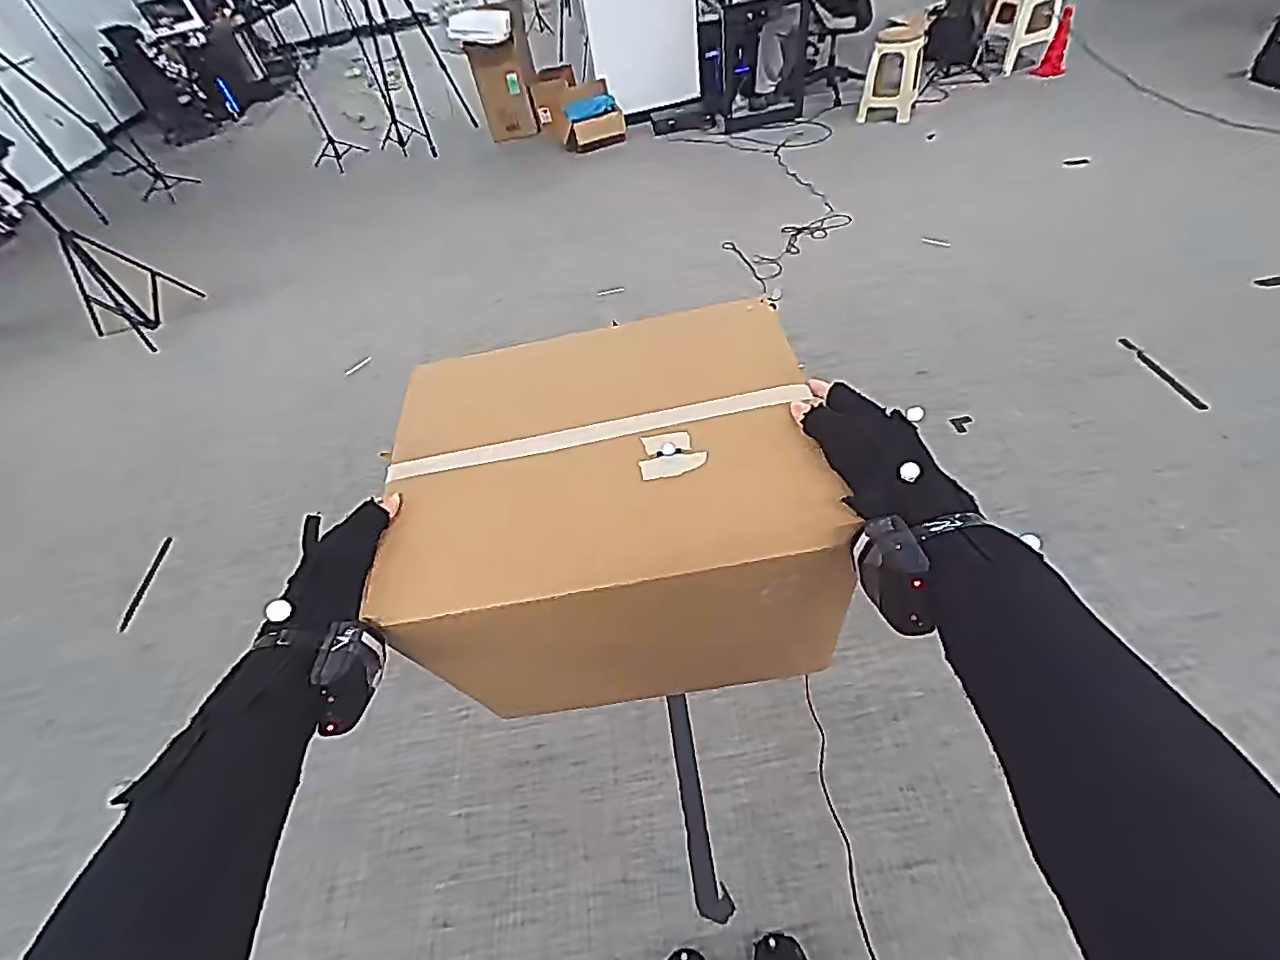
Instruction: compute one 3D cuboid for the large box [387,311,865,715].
[{"bbox_3d":[-0.011,0.053,0.640,0.408,0.320,0.320,-10,53,3],"label":"large box"}]
